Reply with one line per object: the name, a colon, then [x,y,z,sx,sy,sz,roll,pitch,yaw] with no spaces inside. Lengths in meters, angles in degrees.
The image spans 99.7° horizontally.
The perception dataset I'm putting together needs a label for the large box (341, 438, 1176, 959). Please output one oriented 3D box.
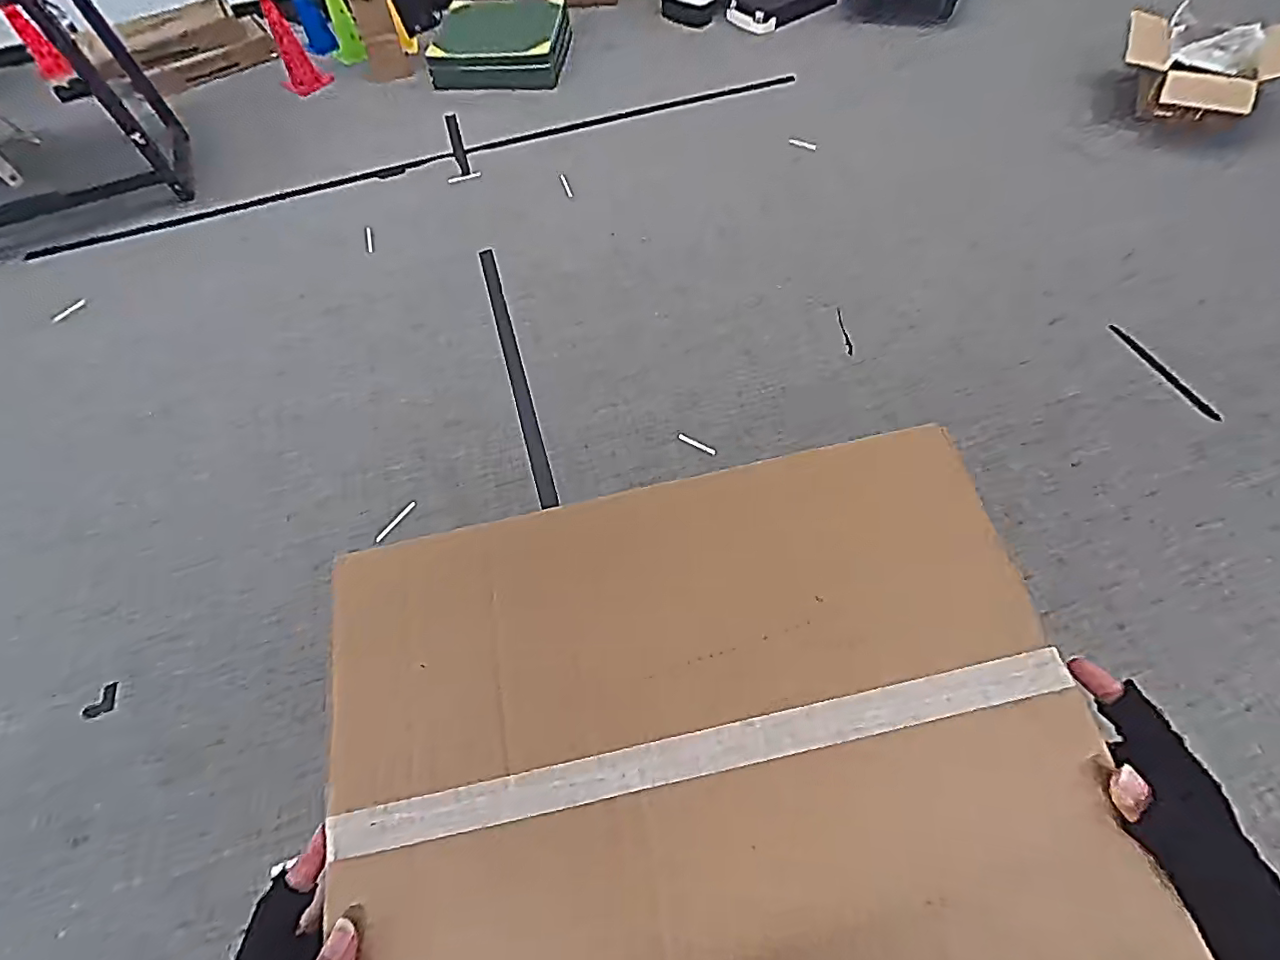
large box: [0.043,0.208,0.439,0.408,0.320,0.320,-13,66,0]
